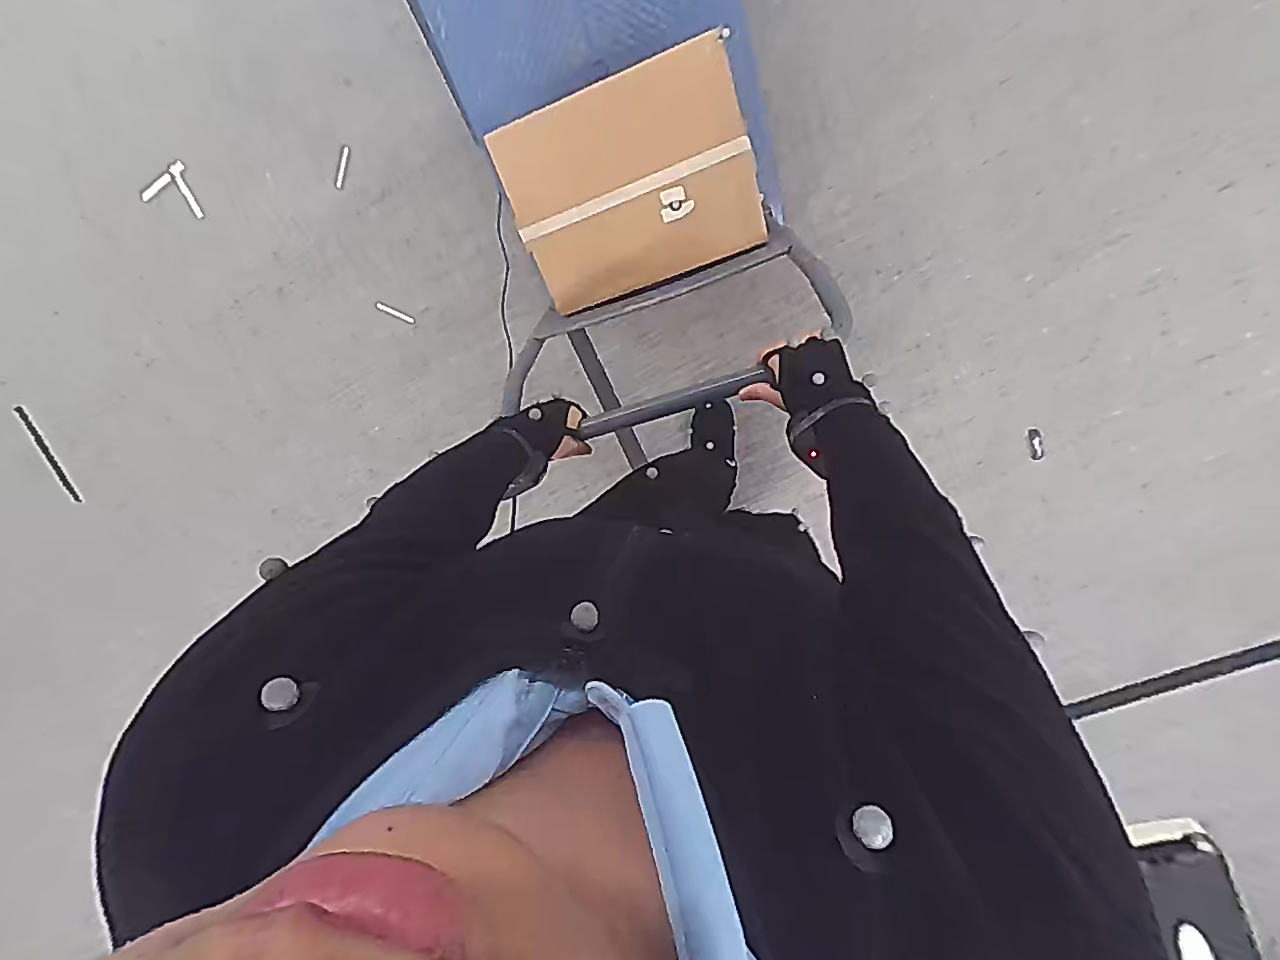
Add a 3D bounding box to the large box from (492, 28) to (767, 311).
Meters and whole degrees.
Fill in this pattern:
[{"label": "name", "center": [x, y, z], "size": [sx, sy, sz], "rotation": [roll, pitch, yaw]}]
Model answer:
[{"label": "large box", "center": [-0.007, -0.576, 1.055], "size": [0.408, 0.320, 0.320], "rotation": [-17, 119, 12]}]
